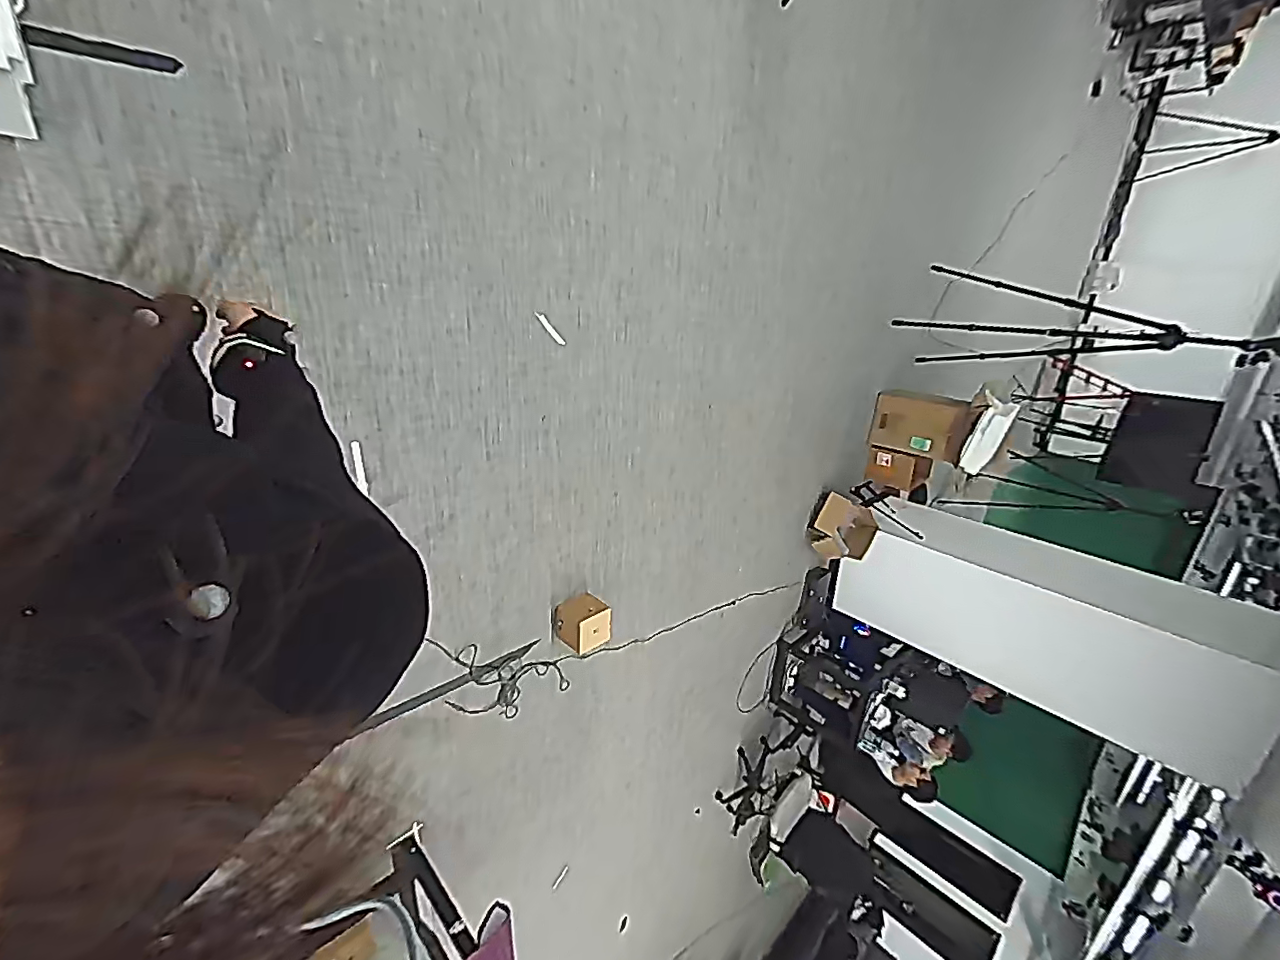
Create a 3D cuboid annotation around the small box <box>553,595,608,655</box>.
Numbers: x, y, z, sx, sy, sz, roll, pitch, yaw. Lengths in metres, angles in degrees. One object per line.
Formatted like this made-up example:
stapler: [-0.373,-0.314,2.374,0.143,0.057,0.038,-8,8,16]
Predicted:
small box: [-0.259,0.625,2.362,0.179,0.176,0.168,-15,116,-42]
